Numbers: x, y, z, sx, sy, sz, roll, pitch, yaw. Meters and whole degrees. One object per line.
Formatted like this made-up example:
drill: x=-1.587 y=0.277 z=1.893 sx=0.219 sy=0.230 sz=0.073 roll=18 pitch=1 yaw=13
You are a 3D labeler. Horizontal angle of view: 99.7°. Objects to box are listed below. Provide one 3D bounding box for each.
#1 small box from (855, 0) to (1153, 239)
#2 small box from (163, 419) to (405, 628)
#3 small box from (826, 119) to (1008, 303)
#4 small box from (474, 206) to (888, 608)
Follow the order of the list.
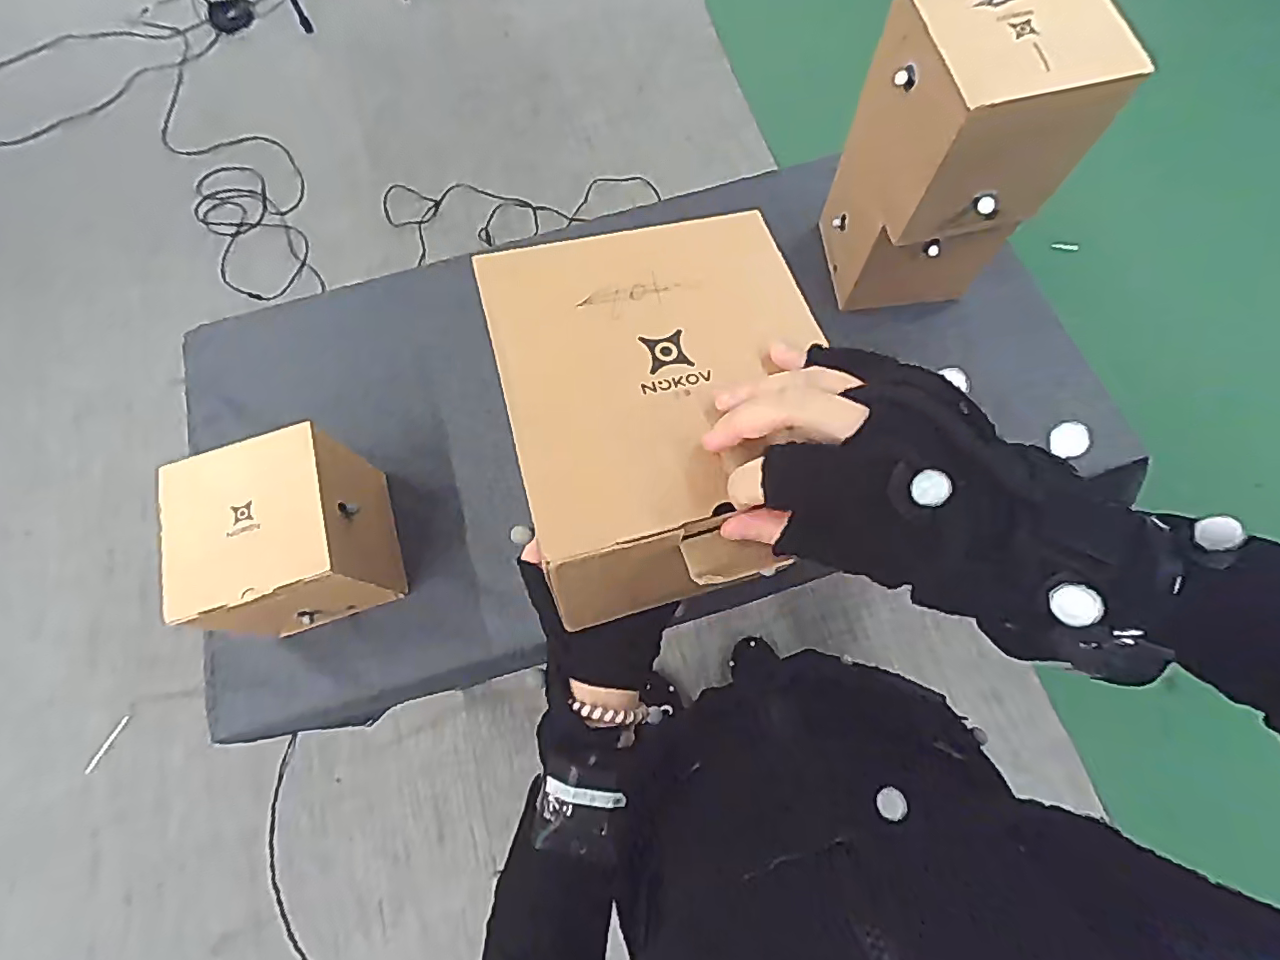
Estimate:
small box: x=0.347 y=-0.389 z=0.562 sx=0.168 sy=0.176 sz=0.179 roll=-11 pitch=73 yaw=0
small box: x=-0.399 y=0.060 z=0.627 sx=0.168 sy=0.176 sz=0.179 roll=-18 pitch=72 yaw=-4
small box: x=0.362 y=-0.356 z=0.724 sx=0.179 sy=0.176 sz=0.168 roll=-5 pitch=72 yaw=2
small box: x=0.009 y=-0.029 z=0.336 sx=0.168 sy=0.176 sz=0.179 roll=-14 pitch=67 yaw=-10
